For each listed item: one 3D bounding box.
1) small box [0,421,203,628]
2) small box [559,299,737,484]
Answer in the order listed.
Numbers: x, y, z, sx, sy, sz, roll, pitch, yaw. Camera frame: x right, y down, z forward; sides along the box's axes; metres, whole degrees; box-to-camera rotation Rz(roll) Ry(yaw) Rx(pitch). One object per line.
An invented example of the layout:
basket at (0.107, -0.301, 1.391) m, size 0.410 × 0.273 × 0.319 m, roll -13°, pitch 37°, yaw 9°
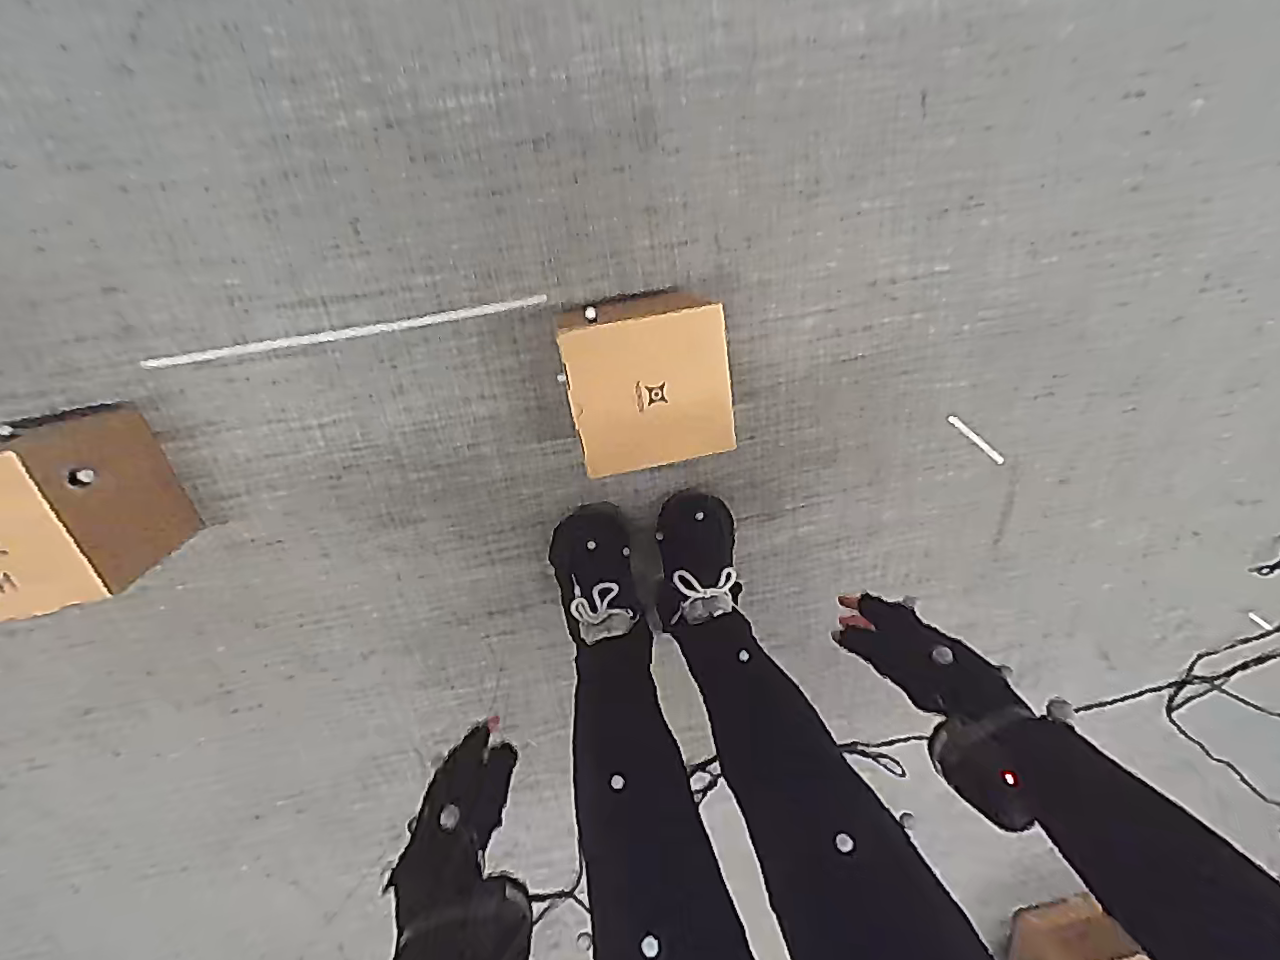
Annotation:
small box at (-0.663, 0.041, 0.615) m, size 0.168 × 0.176 × 0.179 m, roll -12°, pitch 113°, yaw -3°
small box at (0.003, -0.116, 0.652) m, size 0.179 × 0.176 × 0.168 m, roll -12°, pitch 114°, yaw -3°
